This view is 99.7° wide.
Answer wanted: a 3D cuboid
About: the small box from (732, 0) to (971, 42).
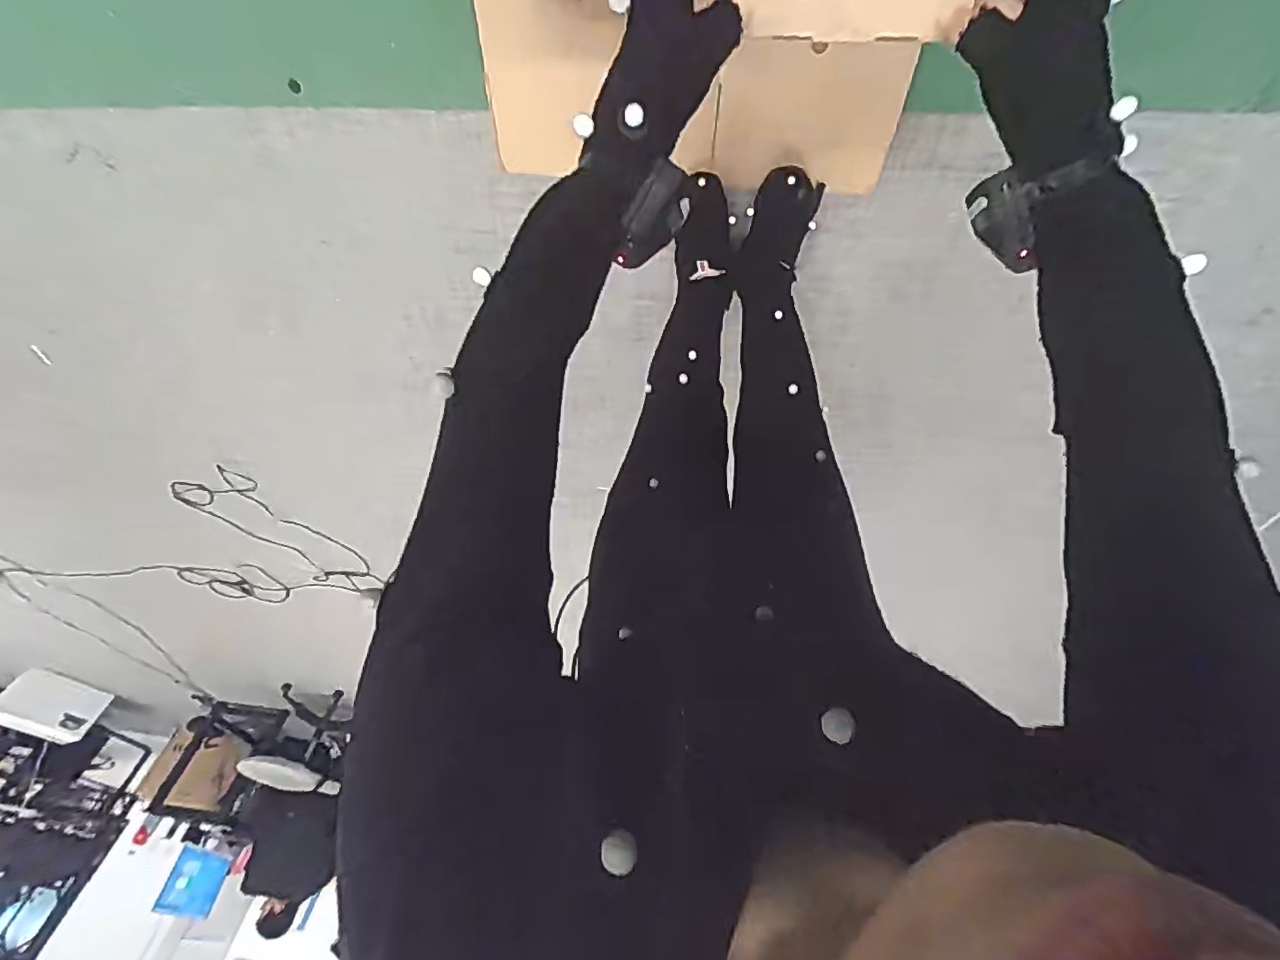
[{"bbox_3d":[0.158,-0.439,0.393,0.168,0.176,0.179,6,134,5],"label":"small box"}]
